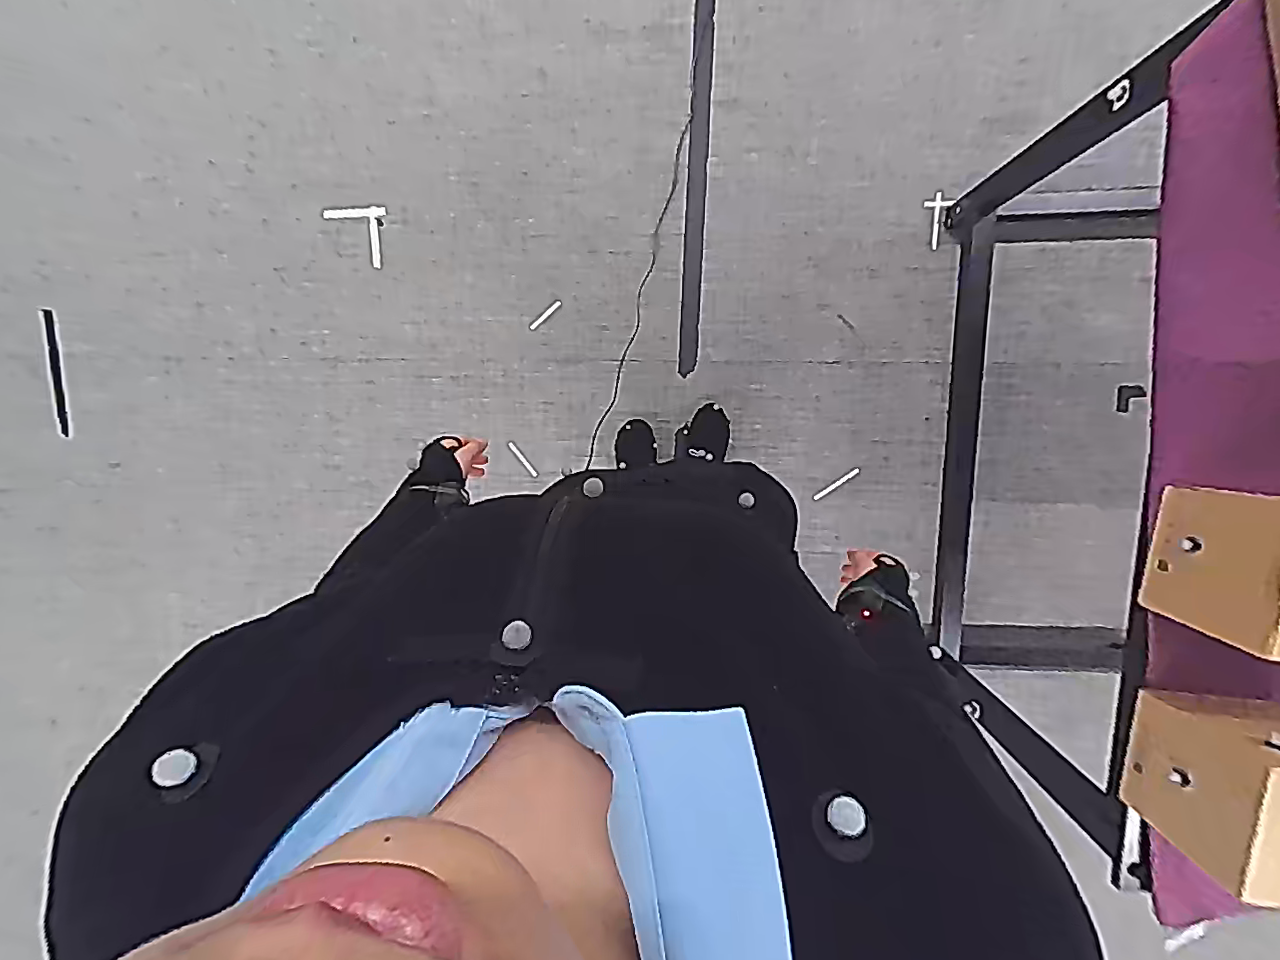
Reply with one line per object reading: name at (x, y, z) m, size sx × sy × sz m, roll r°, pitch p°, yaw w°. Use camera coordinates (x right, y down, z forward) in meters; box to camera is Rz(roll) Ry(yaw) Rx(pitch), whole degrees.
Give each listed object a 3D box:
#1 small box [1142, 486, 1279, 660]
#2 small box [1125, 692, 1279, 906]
small box at (0.755, 0.105, 0.625) m, size 0.179 × 0.176 × 0.168 m, roll 6°, pitch 98°, yaw 4°
small box at (0.753, 0.378, 0.658) m, size 0.179 × 0.176 × 0.168 m, roll 4°, pitch 98°, yaw 2°
